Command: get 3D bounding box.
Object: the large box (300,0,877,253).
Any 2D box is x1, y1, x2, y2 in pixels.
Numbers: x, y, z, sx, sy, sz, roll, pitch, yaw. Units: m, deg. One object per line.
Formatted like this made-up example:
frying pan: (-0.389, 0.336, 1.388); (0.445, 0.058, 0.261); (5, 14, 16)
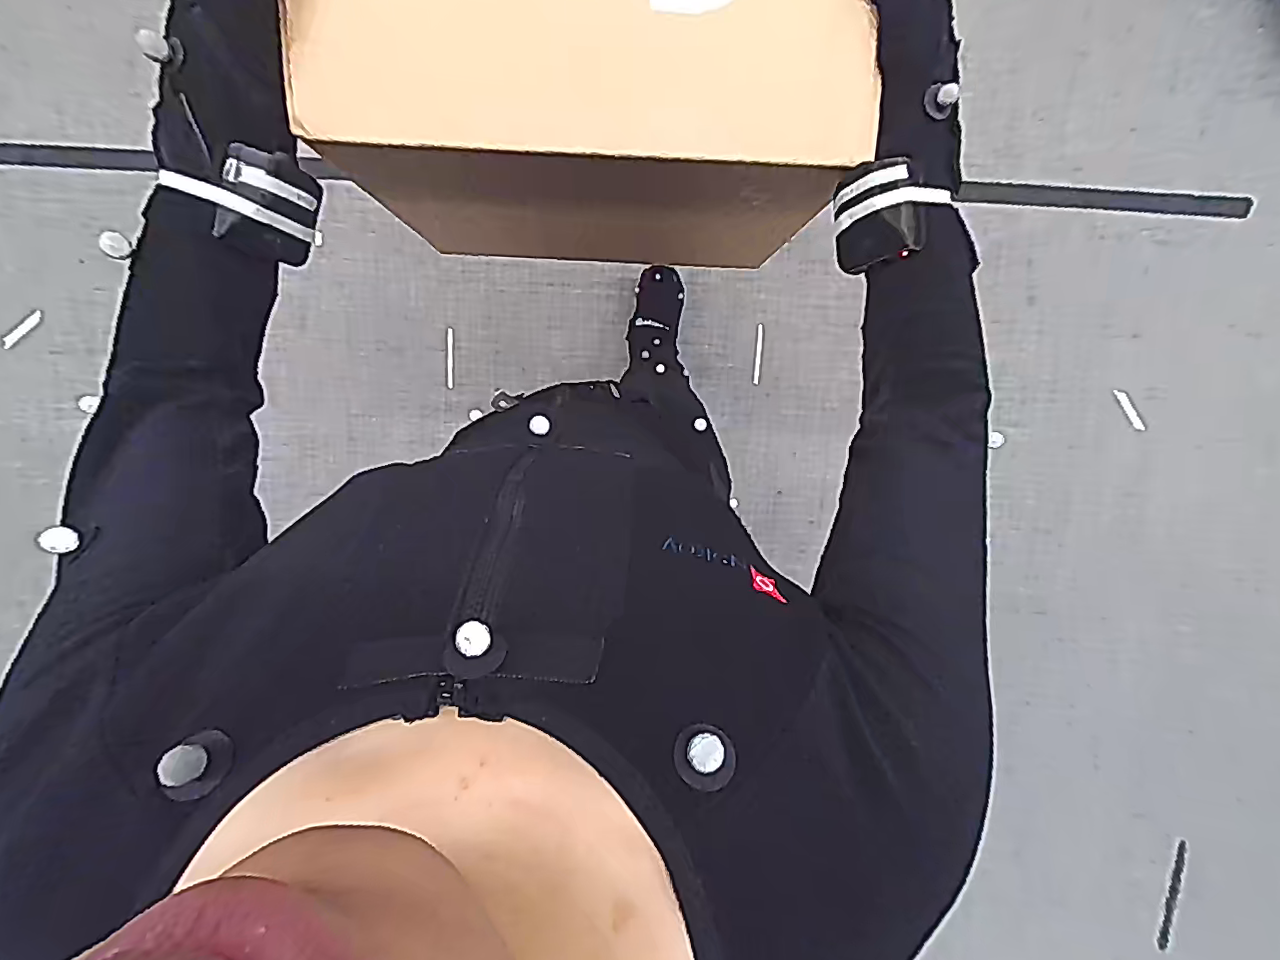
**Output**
large box: (-0.038, -0.417, 0.509); (0.408, 0.320, 0.320); (1, 99, -3)
